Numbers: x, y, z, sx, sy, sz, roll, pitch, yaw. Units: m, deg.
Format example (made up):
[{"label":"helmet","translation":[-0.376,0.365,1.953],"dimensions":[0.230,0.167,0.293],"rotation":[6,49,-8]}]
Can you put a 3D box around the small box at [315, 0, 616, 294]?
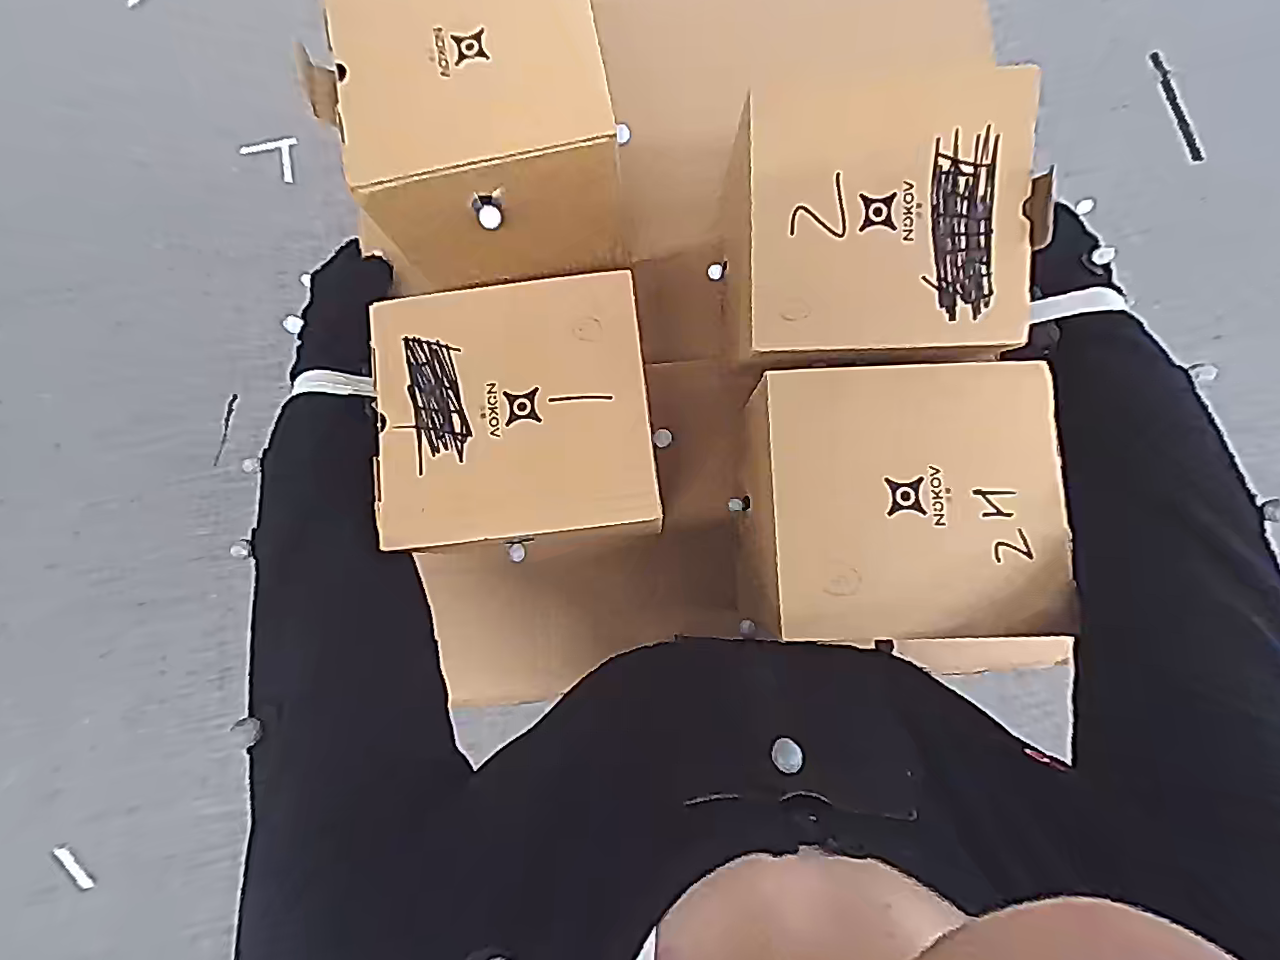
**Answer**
[{"label":"small box","translation":[-0.118,-0.272,0.431],"dimensions":[0.179,0.176,0.168],"rotation":[-11,83,1]}]
